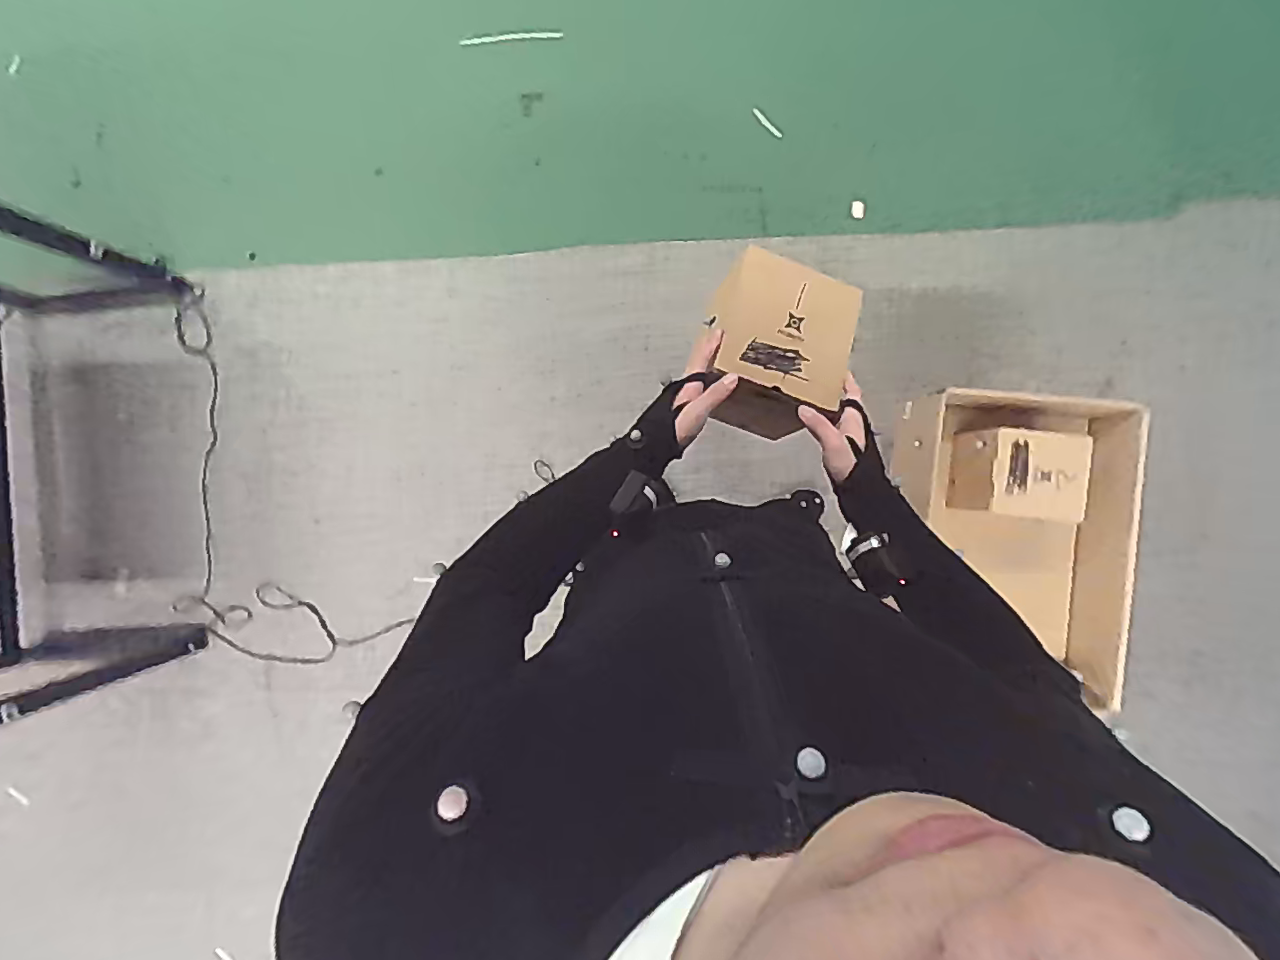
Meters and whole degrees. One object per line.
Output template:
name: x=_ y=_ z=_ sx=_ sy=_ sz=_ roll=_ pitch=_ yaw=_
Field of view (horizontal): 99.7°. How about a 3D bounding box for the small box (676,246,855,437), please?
small box: x=0.160 y=-0.173 z=0.741 sx=0.168 sy=0.176 sz=0.179 roll=18 pitch=78 yaw=-9
